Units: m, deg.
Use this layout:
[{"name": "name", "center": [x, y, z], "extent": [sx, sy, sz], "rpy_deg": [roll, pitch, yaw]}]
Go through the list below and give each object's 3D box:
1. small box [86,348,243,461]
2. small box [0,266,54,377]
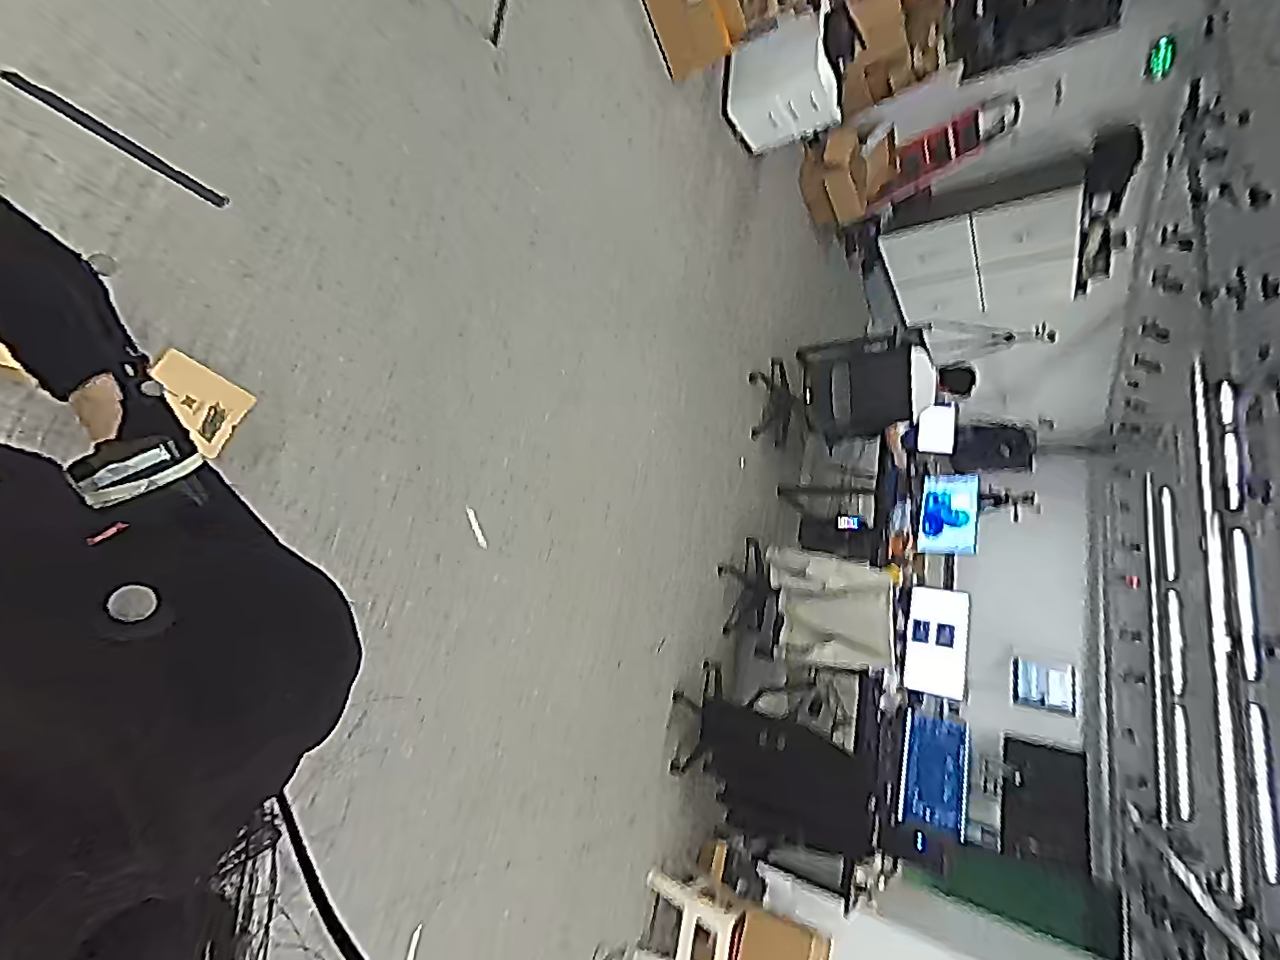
[{"name": "small box", "center": [-1.008, -0.154, 1.150], "extent": [0.179, 0.176, 0.168], "rpy_deg": [45, 55, -43]}, {"name": "small box", "center": [-1.167, -0.287, 0.928], "extent": [0.179, 0.176, 0.168], "rpy_deg": [21, 74, -52]}]
